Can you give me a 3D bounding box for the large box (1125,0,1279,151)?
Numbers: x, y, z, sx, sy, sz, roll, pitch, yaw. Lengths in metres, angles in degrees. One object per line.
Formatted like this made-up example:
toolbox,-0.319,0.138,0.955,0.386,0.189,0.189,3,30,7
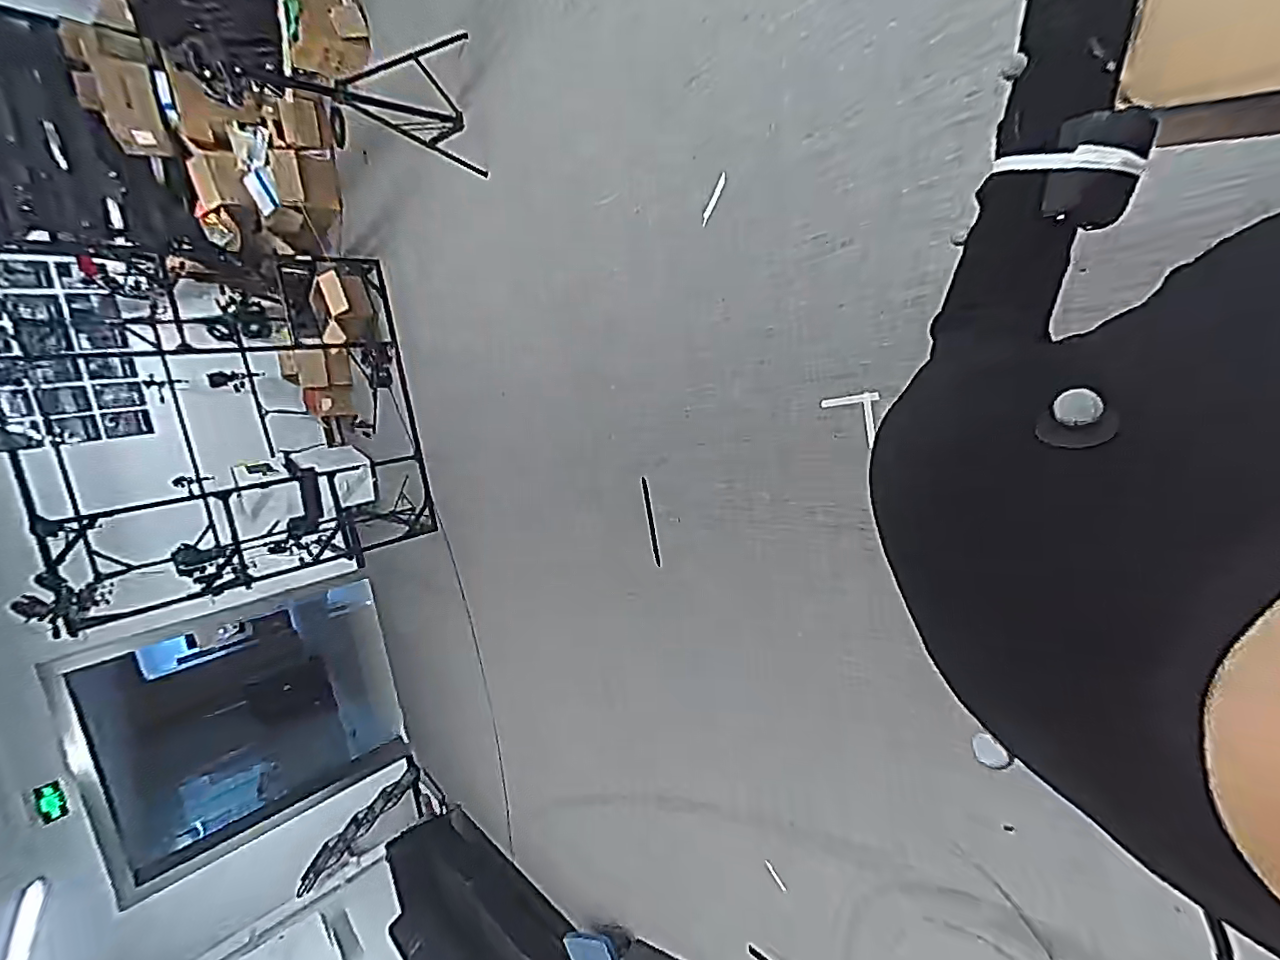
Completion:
large box,0.569,-0.397,0.290,0.408,0.320,0.320,18,121,40
